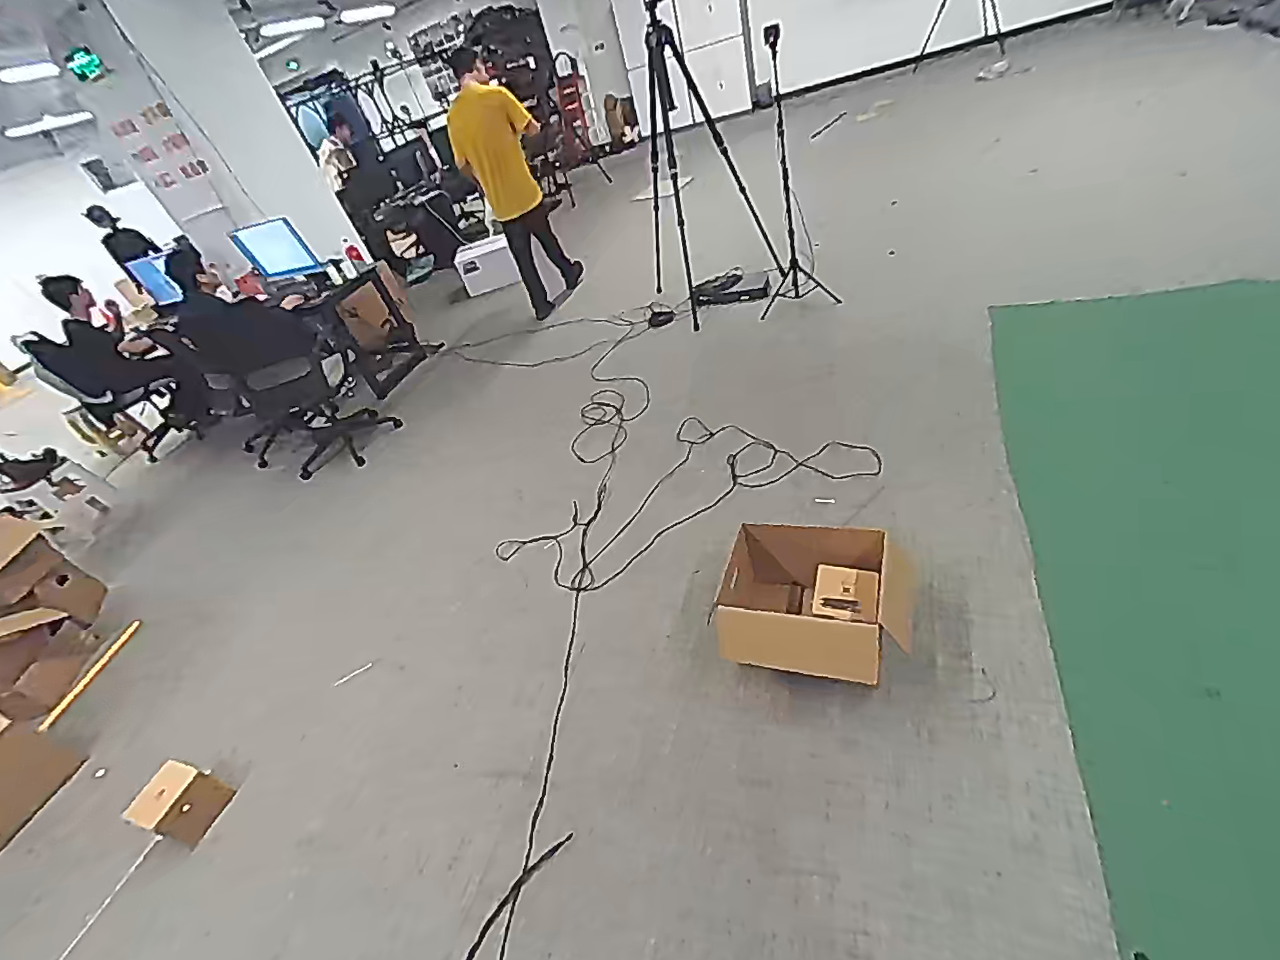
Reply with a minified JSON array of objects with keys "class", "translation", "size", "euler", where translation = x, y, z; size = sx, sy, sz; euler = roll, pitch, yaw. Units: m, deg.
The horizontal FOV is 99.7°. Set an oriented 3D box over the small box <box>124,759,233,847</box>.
[{"class":"small box","translation":[-1.439,1.020,1.706],"size":[0.168,0.176,0.179],"euler":[1,44,23]}]
